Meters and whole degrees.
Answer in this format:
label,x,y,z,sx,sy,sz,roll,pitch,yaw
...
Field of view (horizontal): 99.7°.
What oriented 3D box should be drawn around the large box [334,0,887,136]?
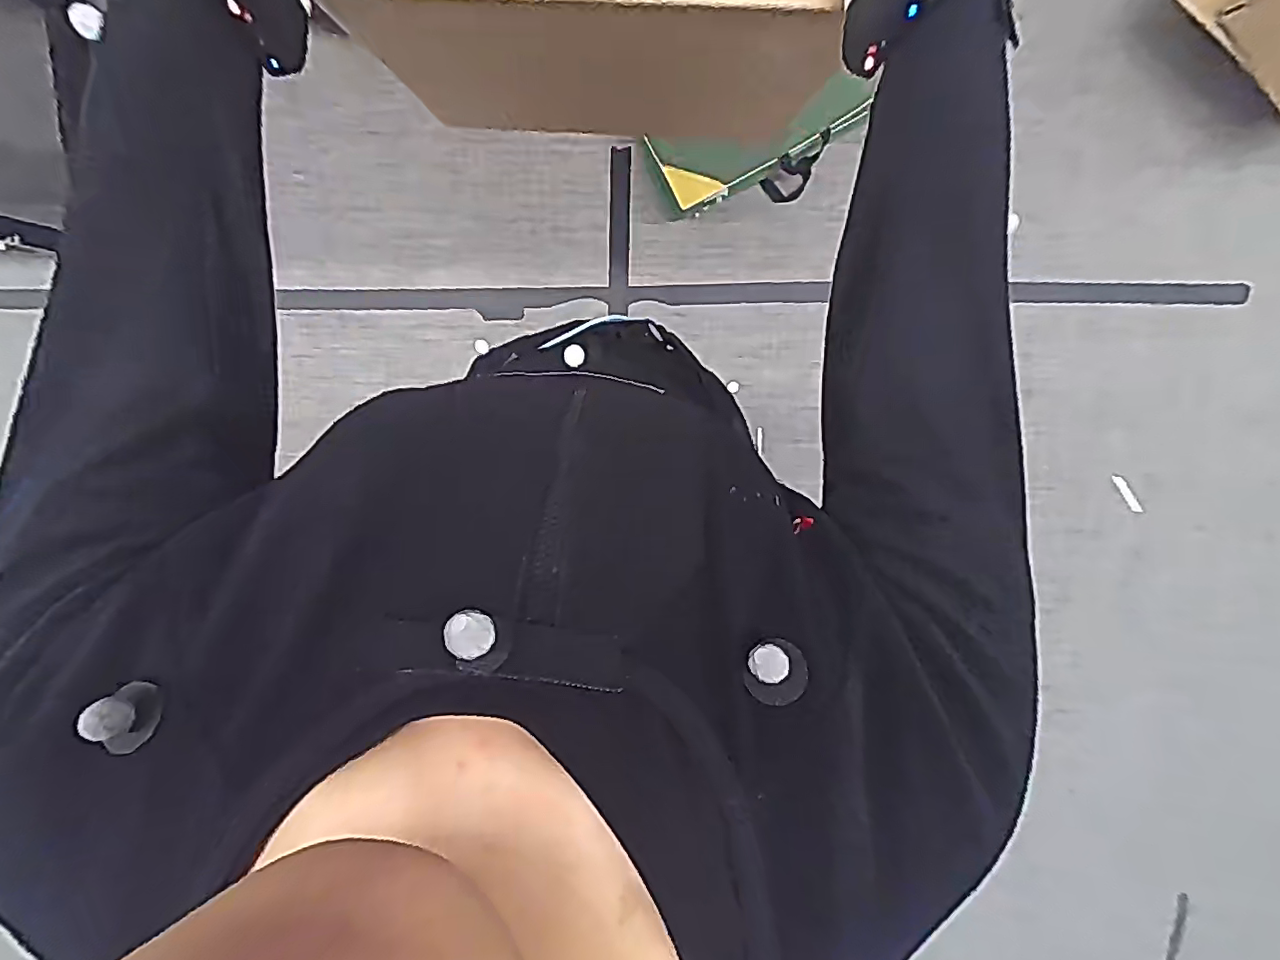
label,x,y,z,sx,sy,sz,roll,pitch,yaw
large box,-0.027,-0.520,0.469,0.408,0.320,0.320,1,109,-2
